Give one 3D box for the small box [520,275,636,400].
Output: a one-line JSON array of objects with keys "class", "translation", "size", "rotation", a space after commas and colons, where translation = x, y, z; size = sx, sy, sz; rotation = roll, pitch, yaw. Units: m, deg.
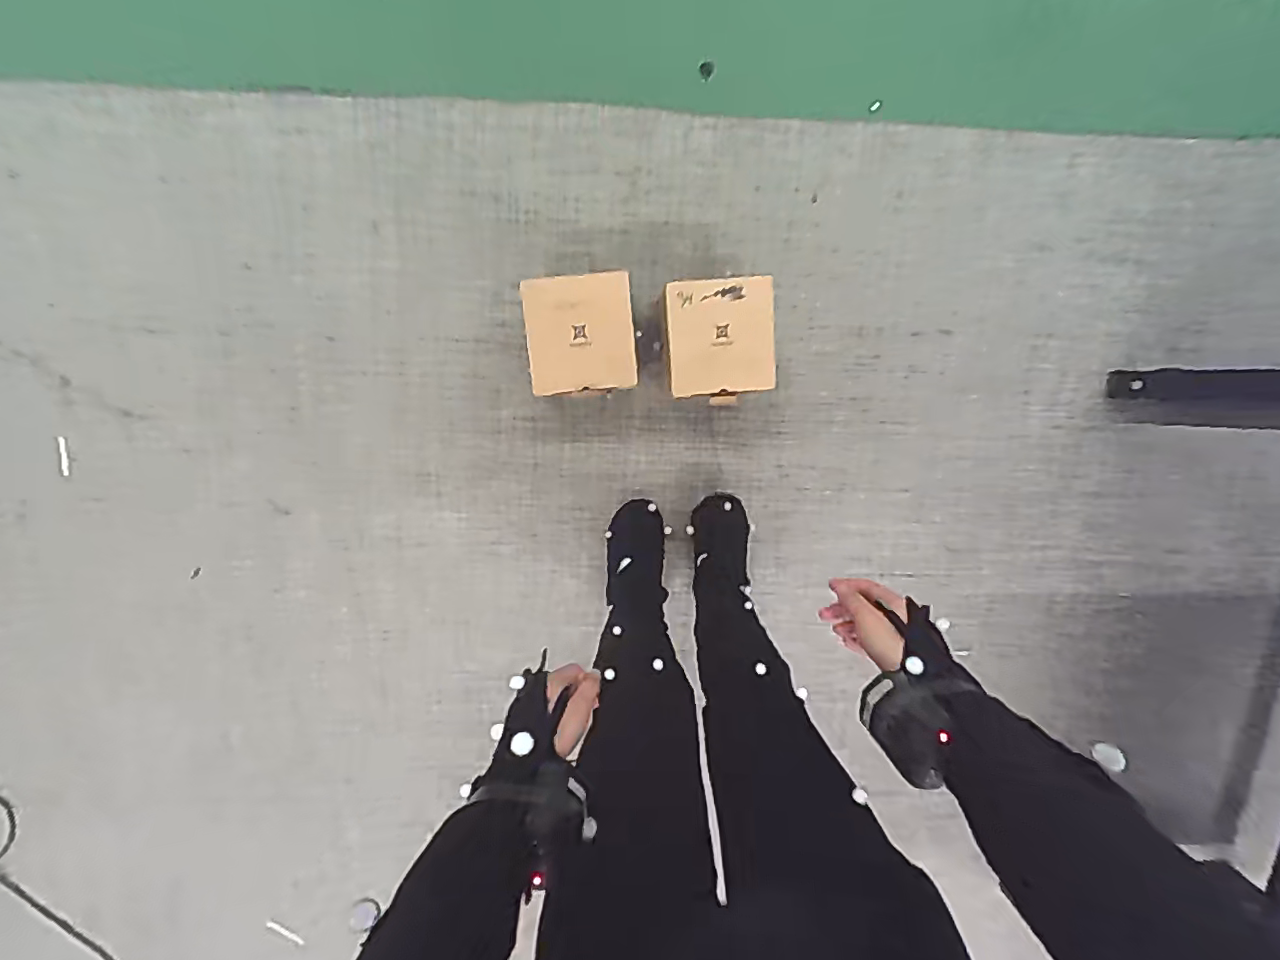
[{"class": "small box", "translation": [-0.096, -0.233, 0.908], "size": [0.168, 0.176, 0.179], "rotation": [-6, 100, -2]}]
